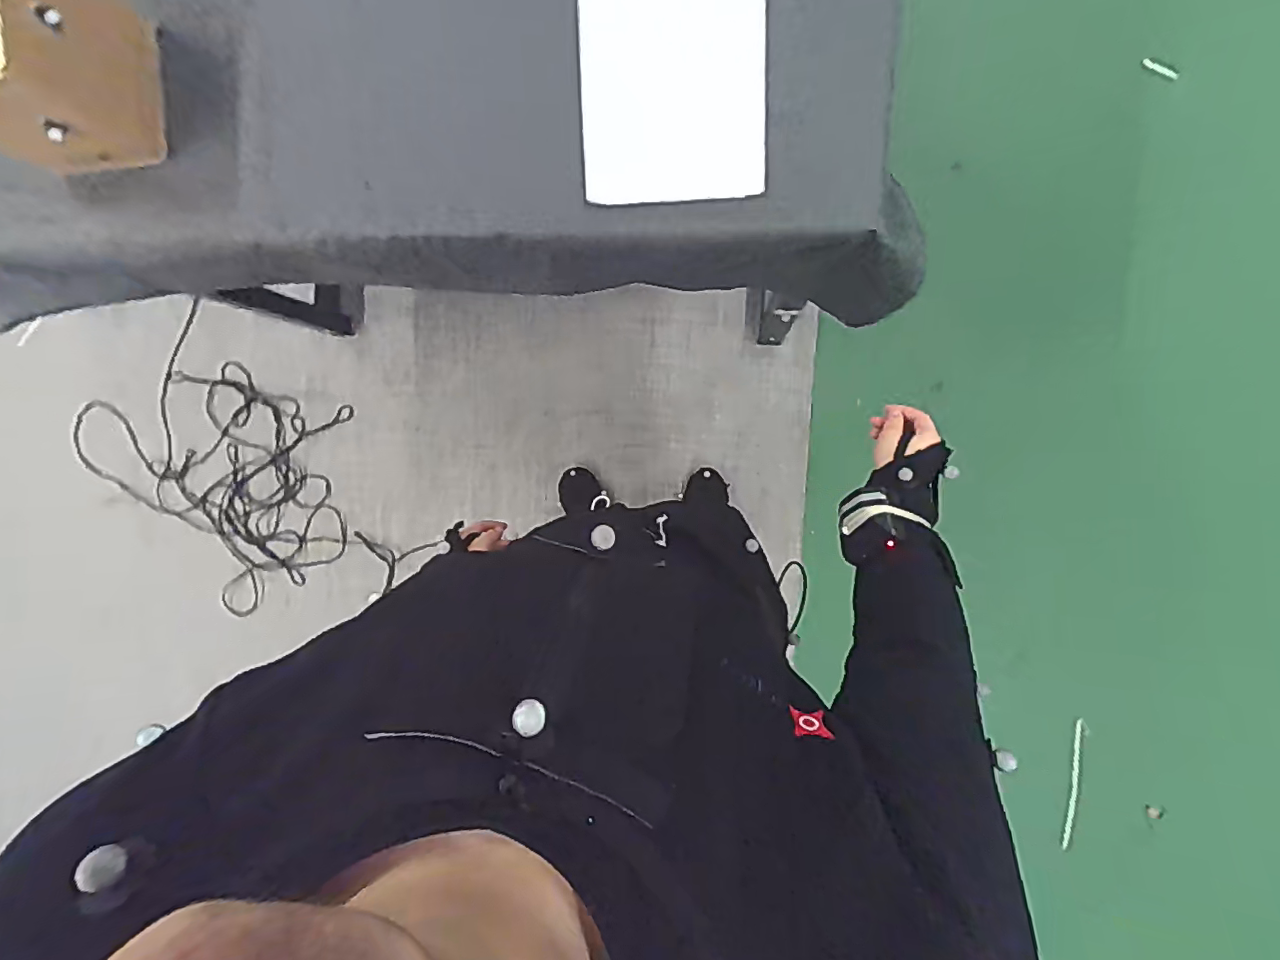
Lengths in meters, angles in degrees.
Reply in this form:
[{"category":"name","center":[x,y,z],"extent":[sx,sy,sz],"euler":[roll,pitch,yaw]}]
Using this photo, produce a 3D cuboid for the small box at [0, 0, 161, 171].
[{"category":"small box","center":[-0.692,-0.475,0.610],"extent":[0.168,0.176,0.179],"euler":[-3,91,6]}]
